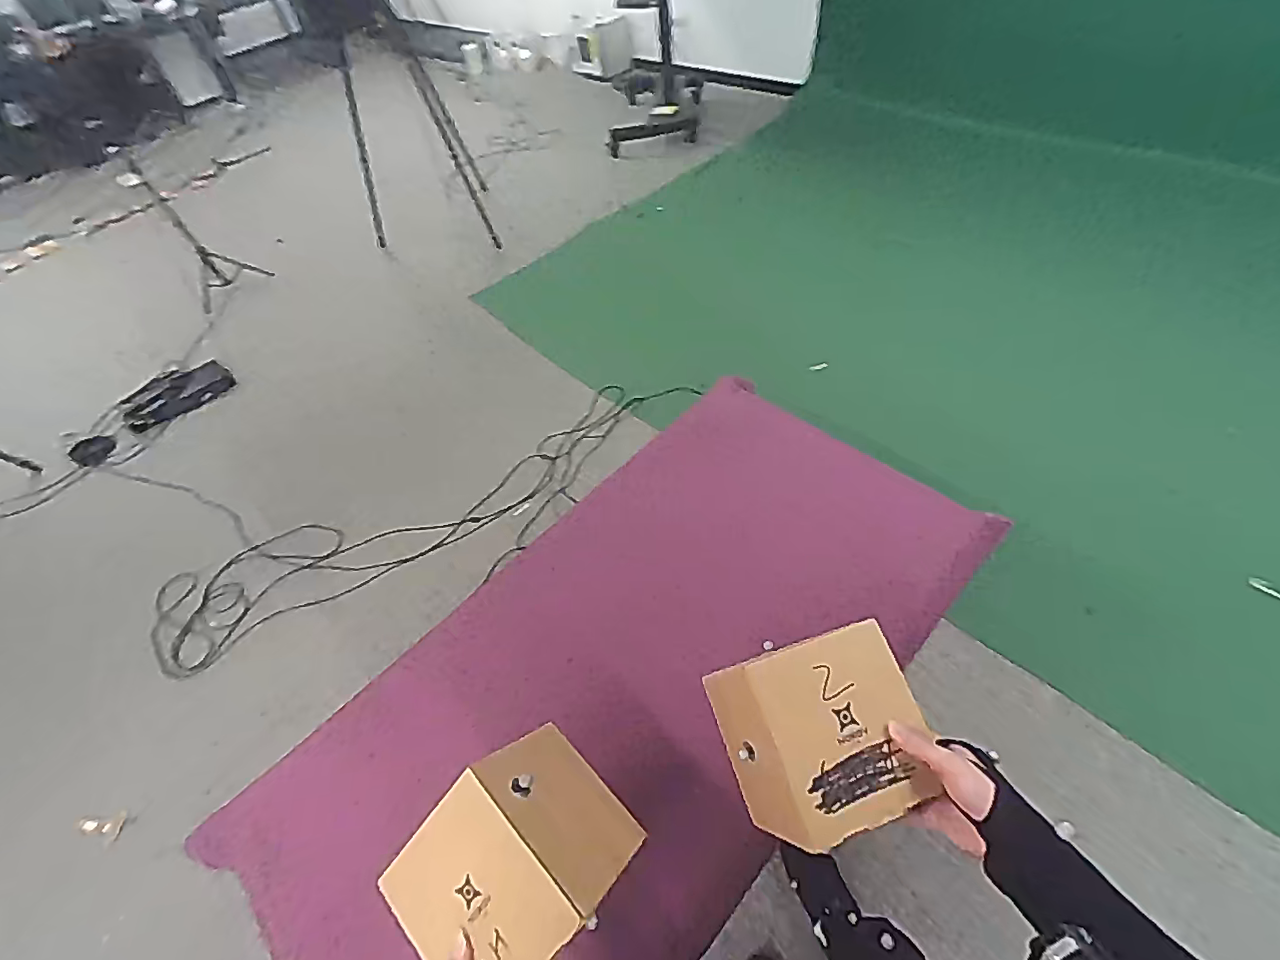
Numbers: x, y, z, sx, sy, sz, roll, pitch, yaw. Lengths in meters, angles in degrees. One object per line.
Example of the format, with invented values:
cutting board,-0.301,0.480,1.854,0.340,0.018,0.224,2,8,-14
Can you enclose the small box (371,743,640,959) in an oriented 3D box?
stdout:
small box,-0.132,0.410,0.573,0.179,0.176,0.168,41,97,22
